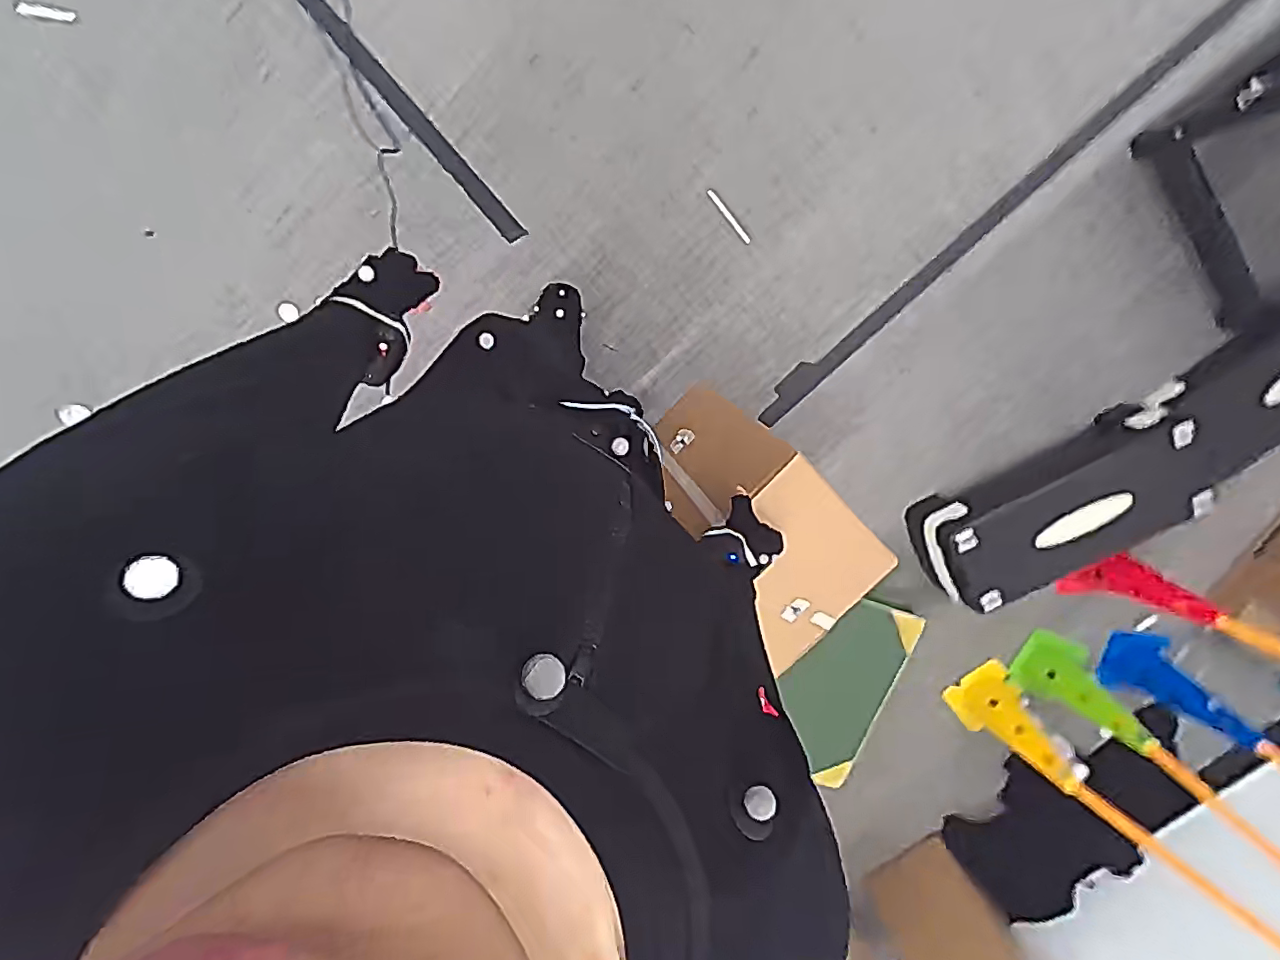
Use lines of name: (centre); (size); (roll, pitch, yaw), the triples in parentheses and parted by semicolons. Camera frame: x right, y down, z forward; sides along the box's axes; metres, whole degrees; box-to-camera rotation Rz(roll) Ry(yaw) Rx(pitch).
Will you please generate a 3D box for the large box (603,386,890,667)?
large box: (0.176, 0.071, 1.041); (0.320, 0.408, 0.320); (39, 98, -26)
